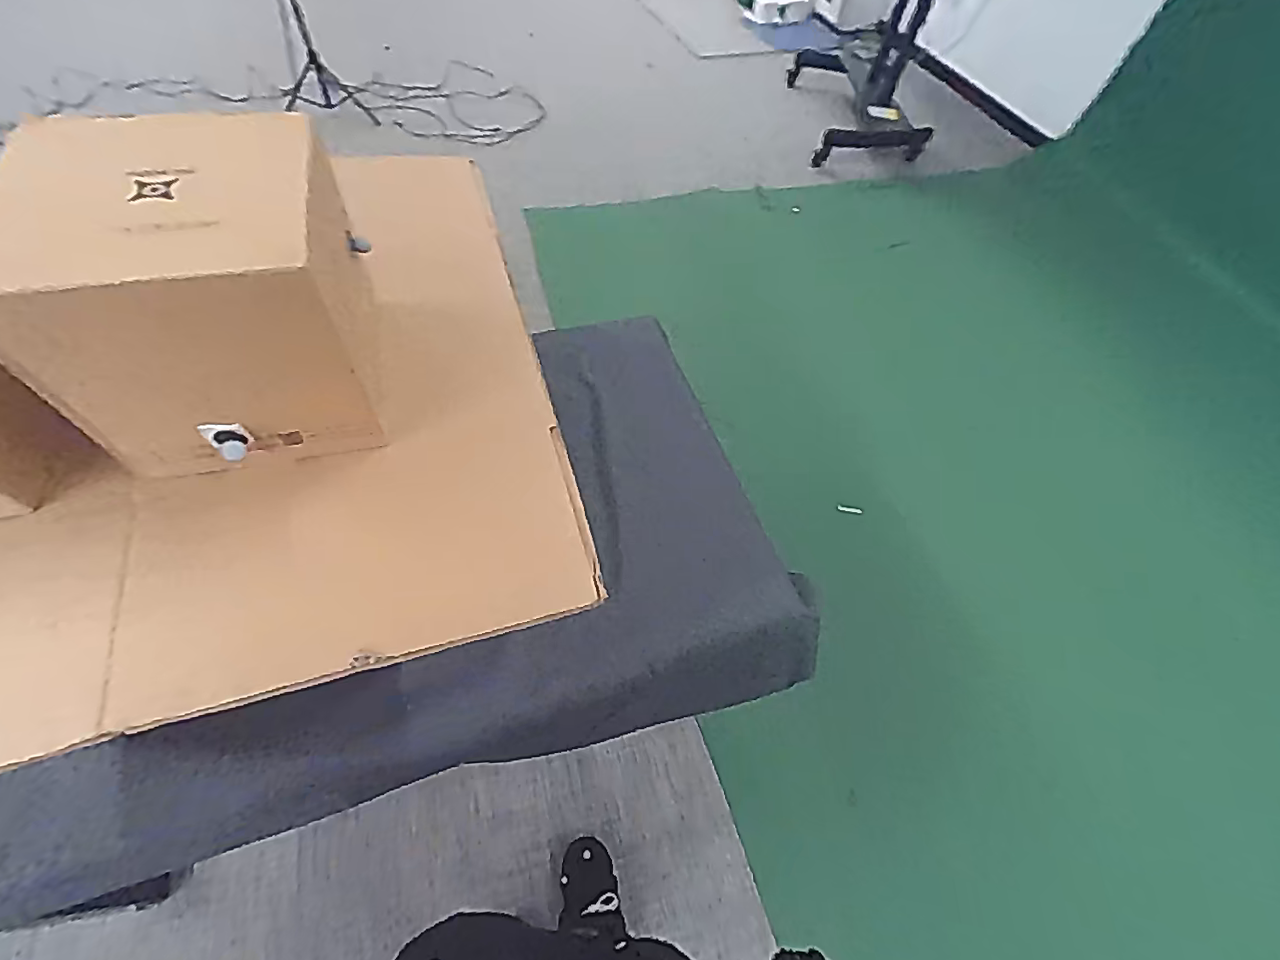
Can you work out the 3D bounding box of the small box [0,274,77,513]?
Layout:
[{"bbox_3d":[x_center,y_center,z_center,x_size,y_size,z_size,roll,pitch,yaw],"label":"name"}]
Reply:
[{"bbox_3d":[-0.516,-0.074,0.333,0.168,0.176,0.179,-12,59,-13],"label":"small box"}]
